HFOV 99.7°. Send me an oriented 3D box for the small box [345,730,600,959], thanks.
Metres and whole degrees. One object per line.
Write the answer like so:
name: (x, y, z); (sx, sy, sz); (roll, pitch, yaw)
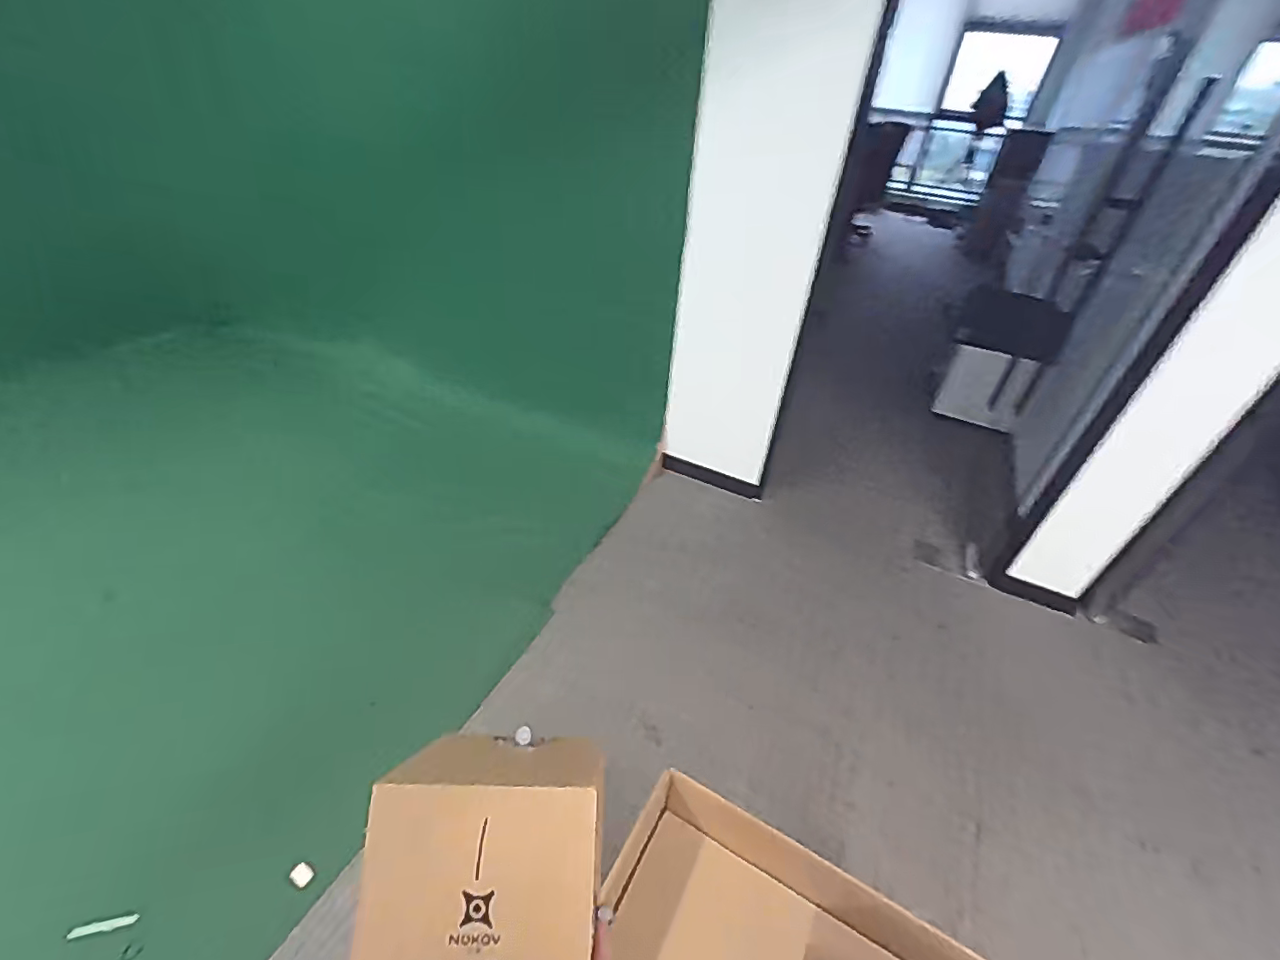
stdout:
small box: (-0.121, 0.324, 0.453); (0.168, 0.176, 0.179); (1, 76, -2)
